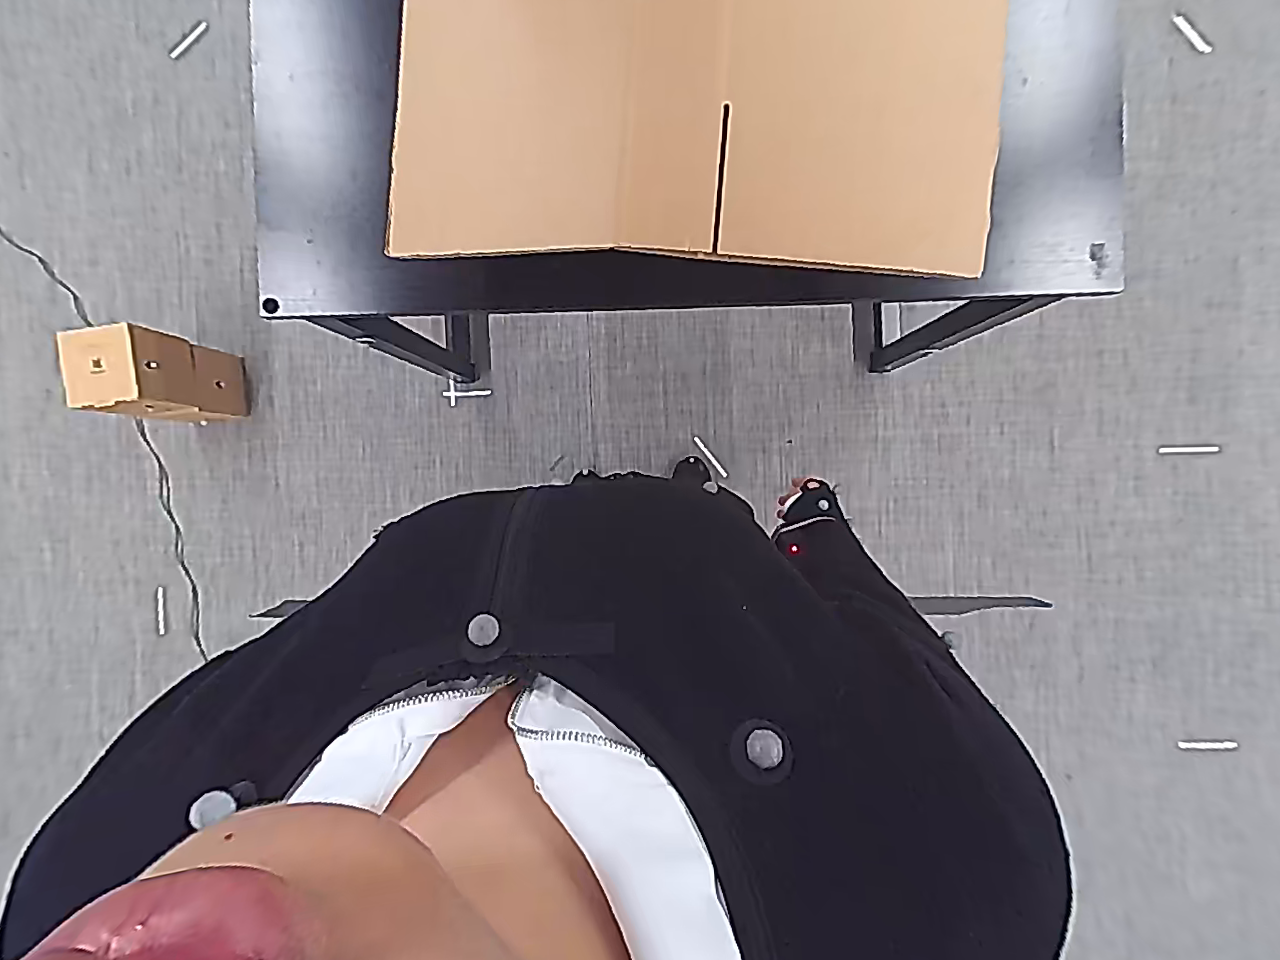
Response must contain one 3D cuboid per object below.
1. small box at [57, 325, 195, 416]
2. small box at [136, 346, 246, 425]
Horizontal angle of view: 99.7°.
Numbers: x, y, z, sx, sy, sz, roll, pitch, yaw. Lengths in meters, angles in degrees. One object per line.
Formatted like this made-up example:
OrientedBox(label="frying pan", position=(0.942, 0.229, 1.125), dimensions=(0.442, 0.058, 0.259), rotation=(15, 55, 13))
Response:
OrientedBox(label="small box", position=(-1.204, -0.250, 1.282), dimensions=(0.168, 0.176, 0.179), rotation=(-8, 90, 1))
OrientedBox(label="small box", position=(-1.198, -0.247, 1.444), dimensions=(0.168, 0.176, 0.179), rotation=(-5, 91, 2))
